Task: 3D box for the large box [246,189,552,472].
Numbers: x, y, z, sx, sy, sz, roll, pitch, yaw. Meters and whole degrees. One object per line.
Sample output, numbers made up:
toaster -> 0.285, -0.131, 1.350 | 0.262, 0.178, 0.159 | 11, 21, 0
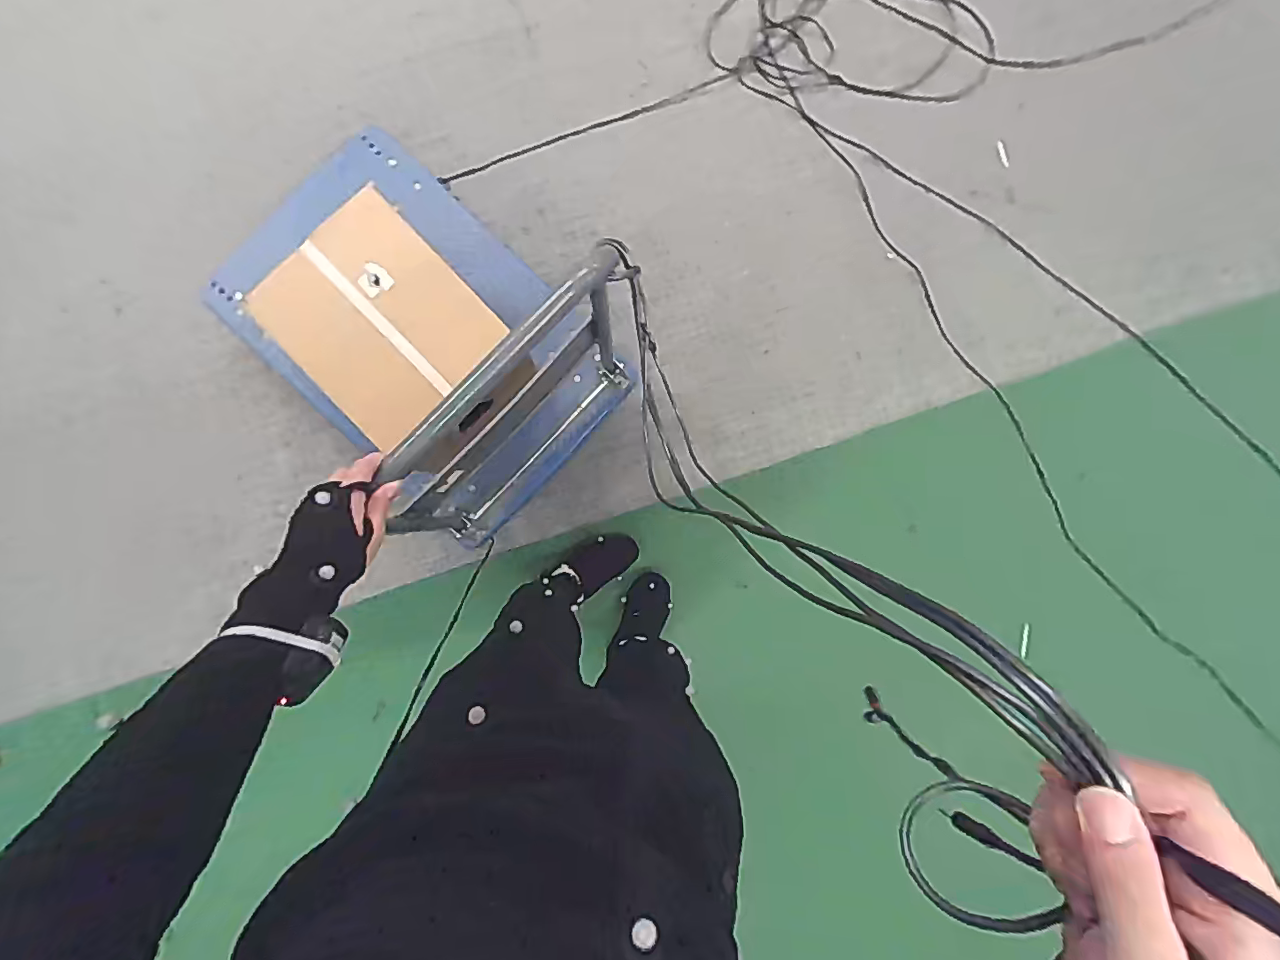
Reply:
large box -> -0.441, -0.263, 1.089 | 0.320, 0.320, 0.408 | -43, 90, -2
